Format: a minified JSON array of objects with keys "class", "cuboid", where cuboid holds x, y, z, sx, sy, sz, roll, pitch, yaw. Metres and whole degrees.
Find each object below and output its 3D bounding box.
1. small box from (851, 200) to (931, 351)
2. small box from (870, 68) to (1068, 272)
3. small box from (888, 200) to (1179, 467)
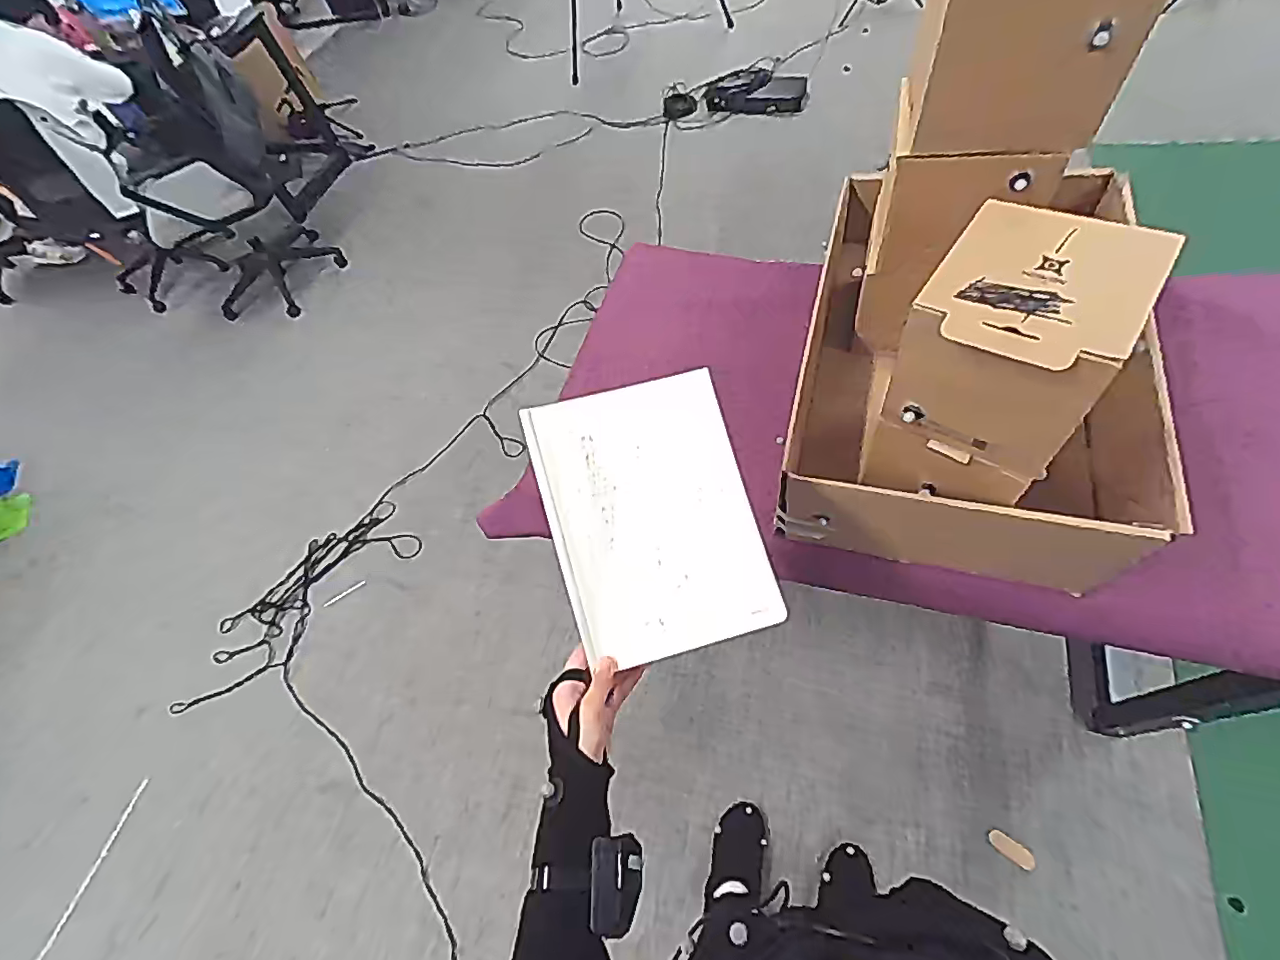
[{"class":"small box","cuboid":[0.428,-0.309,0.832,0.168,0.176,0.179,10,64,18]},{"class":"small box","cuboid":[0.401,-0.385,0.692,0.179,0.176,0.168,8,63,16]},{"class":"small box","cuboid":[0.372,-0.143,0.547,0.168,0.176,0.179,30,68,28]}]
